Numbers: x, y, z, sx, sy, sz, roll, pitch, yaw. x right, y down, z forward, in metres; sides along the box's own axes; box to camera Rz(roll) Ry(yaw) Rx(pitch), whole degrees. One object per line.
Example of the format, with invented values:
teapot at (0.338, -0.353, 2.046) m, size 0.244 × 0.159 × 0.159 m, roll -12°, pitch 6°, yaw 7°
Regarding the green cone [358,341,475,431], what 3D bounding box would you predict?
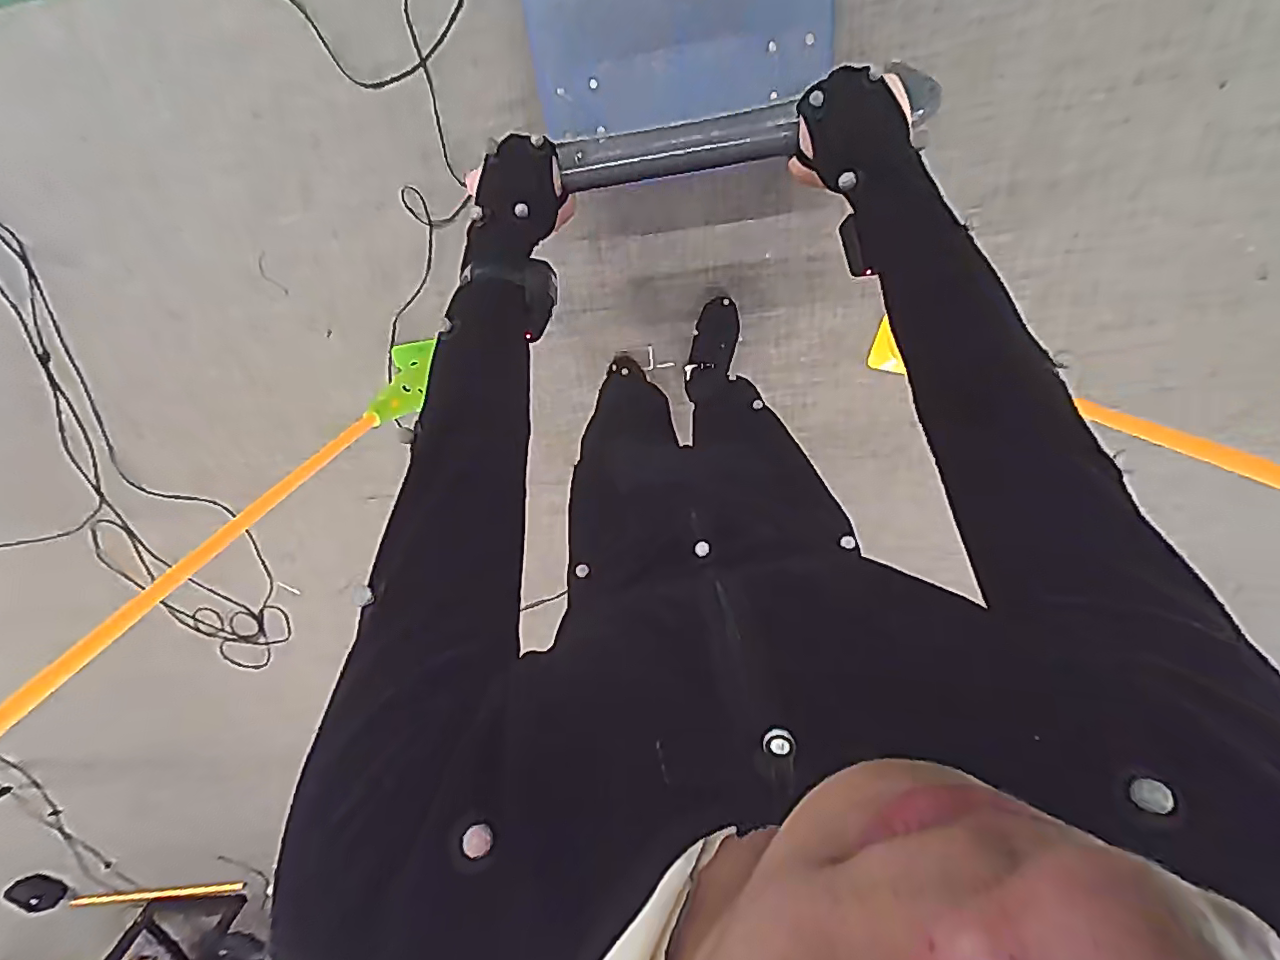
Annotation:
green cone at (-0.610, -0.216, 1.406) m, size 0.202 × 0.368 × 0.200 m, roll -7°, pitch 115°, yaw 11°
